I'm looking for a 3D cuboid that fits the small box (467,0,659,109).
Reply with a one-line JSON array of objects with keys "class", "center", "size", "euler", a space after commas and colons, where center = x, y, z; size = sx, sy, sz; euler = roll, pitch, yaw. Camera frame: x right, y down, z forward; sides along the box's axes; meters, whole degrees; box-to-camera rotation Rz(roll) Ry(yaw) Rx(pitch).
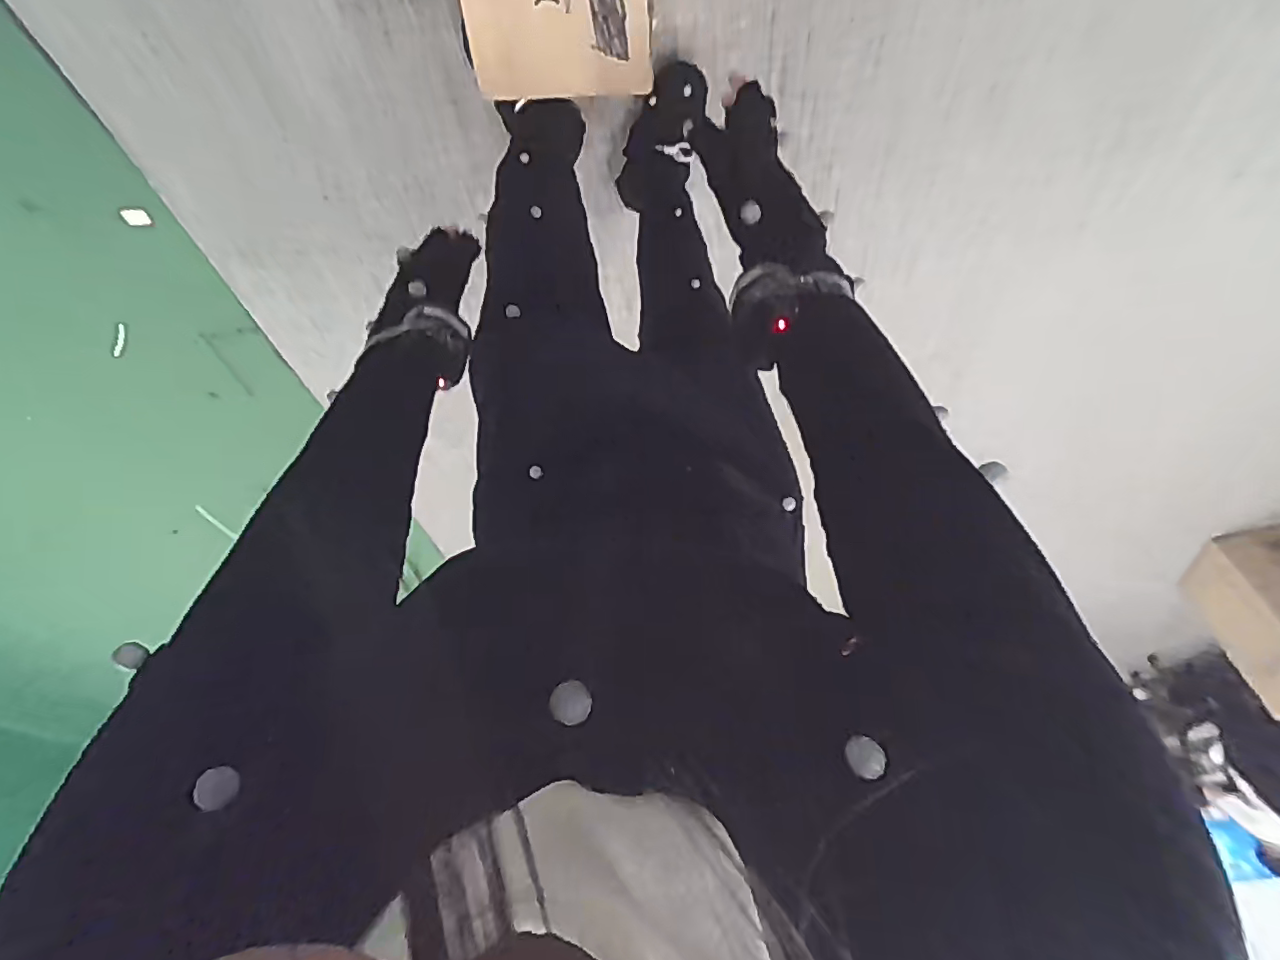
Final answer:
[{"class": "small box", "center": [-0.073, -0.497, 0.544], "size": [0.179, 0.176, 0.168], "euler": [-2, 140, 0]}]
